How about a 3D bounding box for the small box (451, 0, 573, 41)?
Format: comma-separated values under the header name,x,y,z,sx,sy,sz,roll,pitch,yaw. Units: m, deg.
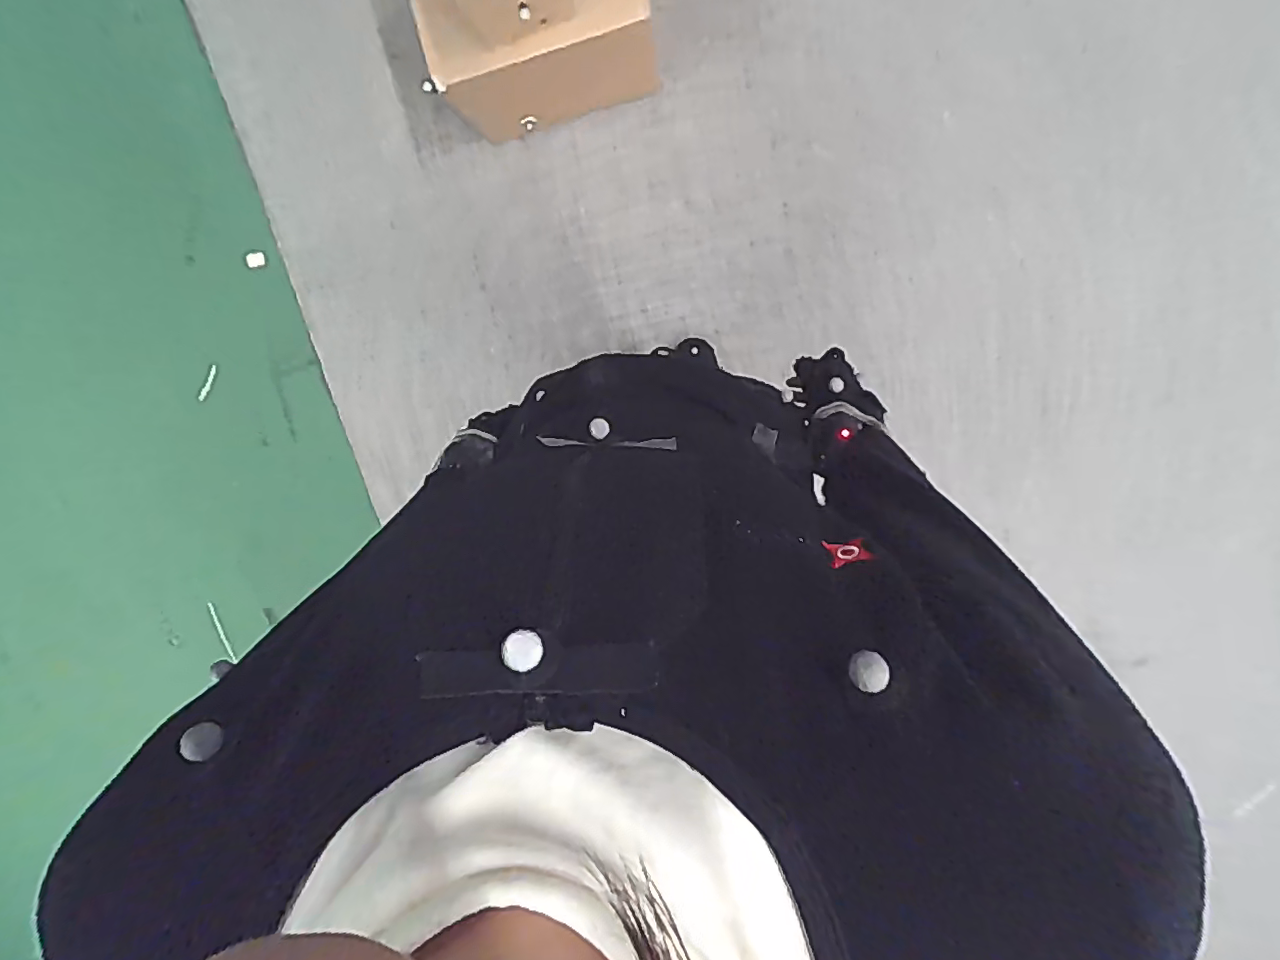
name,x,y,z,sx,sy,sz,roll,pitch,yaw
small box,-0.216,-0.825,0.834,0.168,0.176,0.179,-15,105,10
